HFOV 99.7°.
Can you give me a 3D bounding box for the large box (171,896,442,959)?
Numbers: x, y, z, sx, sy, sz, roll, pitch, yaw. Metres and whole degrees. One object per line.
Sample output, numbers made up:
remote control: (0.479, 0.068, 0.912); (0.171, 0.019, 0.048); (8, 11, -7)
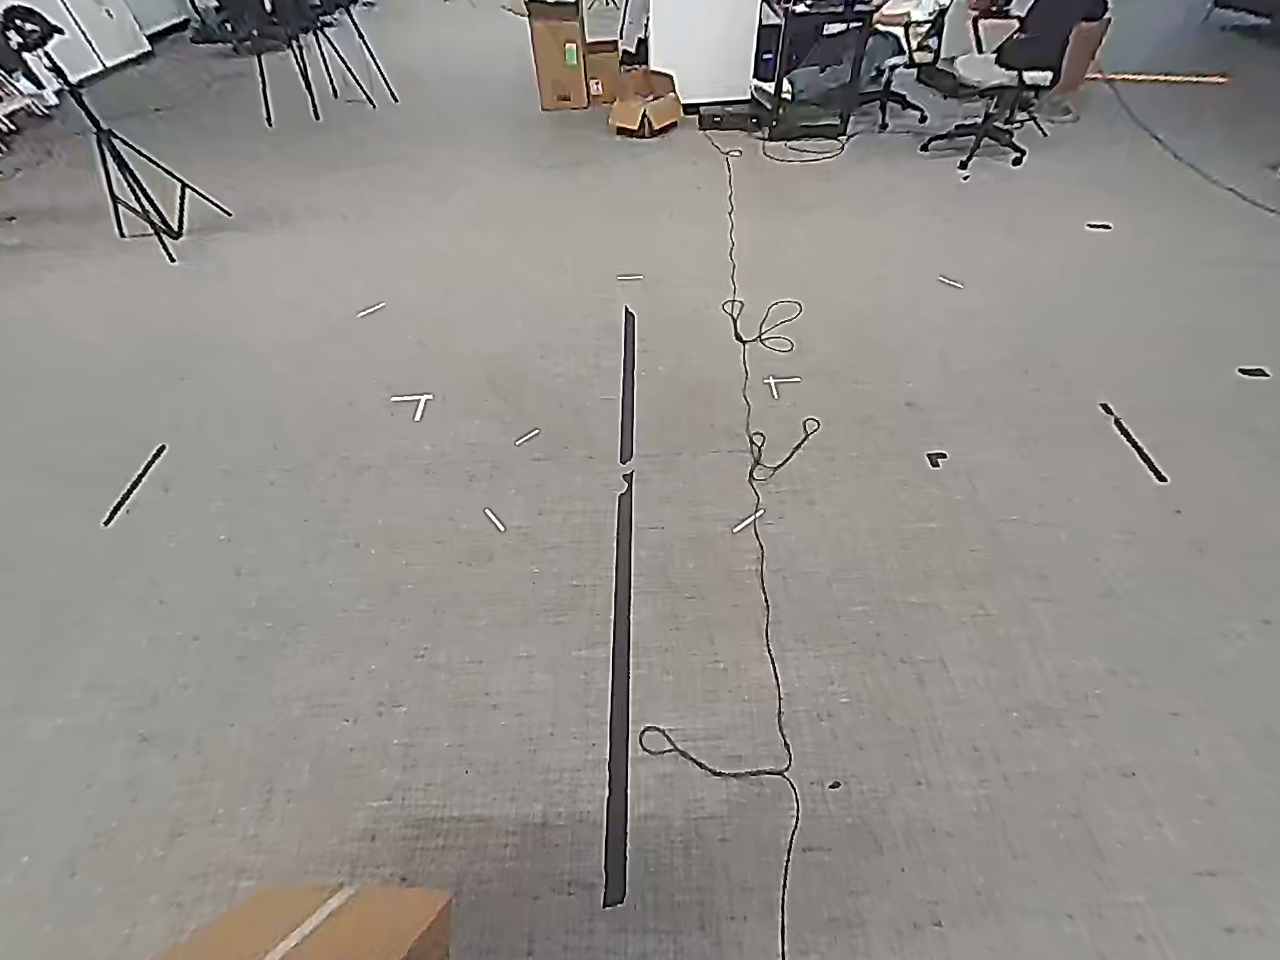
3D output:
large box: (-0.462, 0.756, 0.611); (0.320, 0.408, 0.320); (-2, 78, 4)
